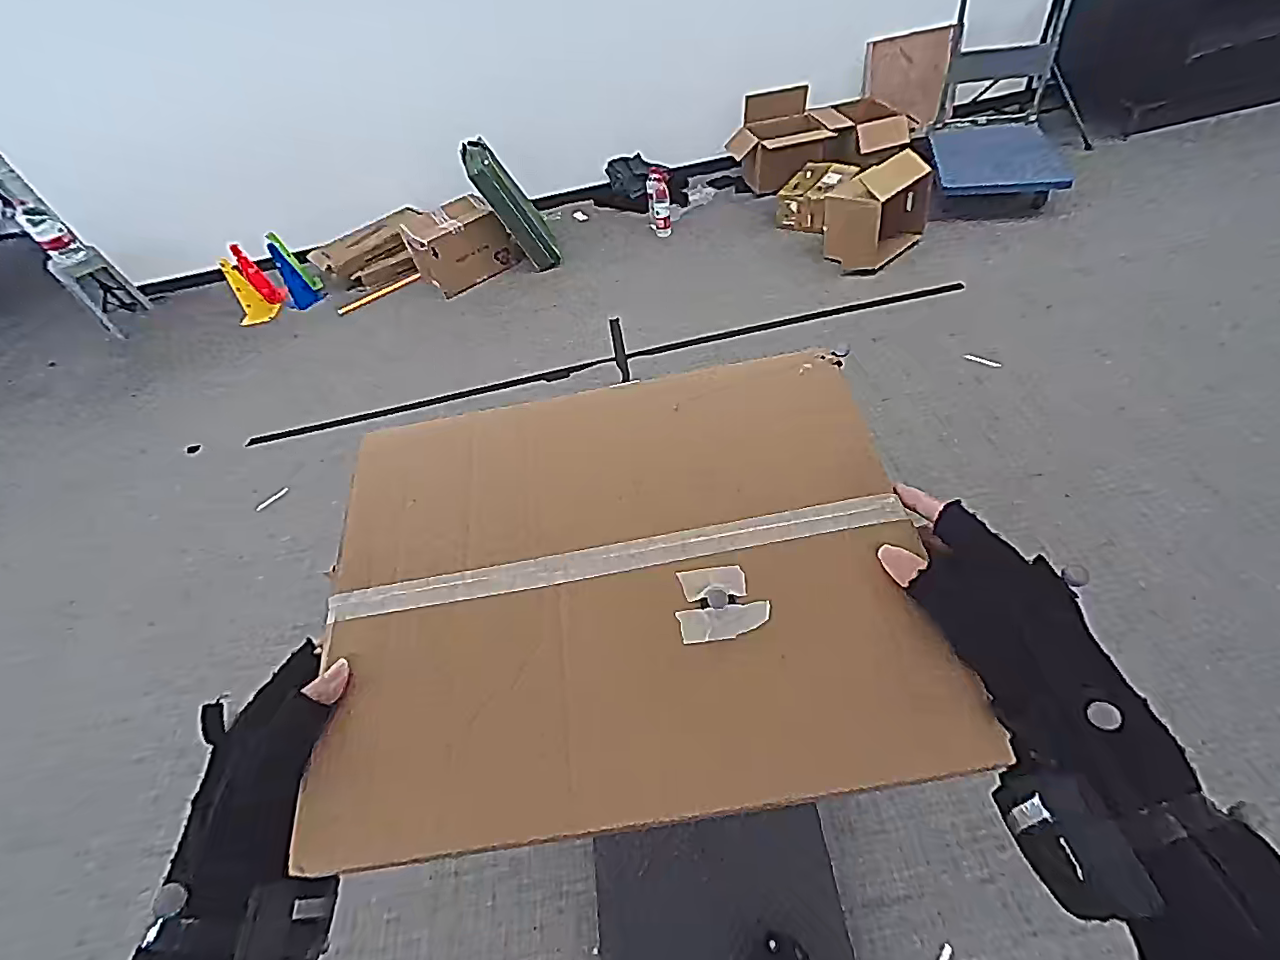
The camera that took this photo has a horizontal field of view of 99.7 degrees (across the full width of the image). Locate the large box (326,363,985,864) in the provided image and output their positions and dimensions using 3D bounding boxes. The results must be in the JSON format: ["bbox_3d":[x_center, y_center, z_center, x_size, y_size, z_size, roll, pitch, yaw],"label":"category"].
[{"bbox_3d":[0.002,0.139,0.519,0.408,0.320,0.320,-10,59,2],"label":"large box"}]
